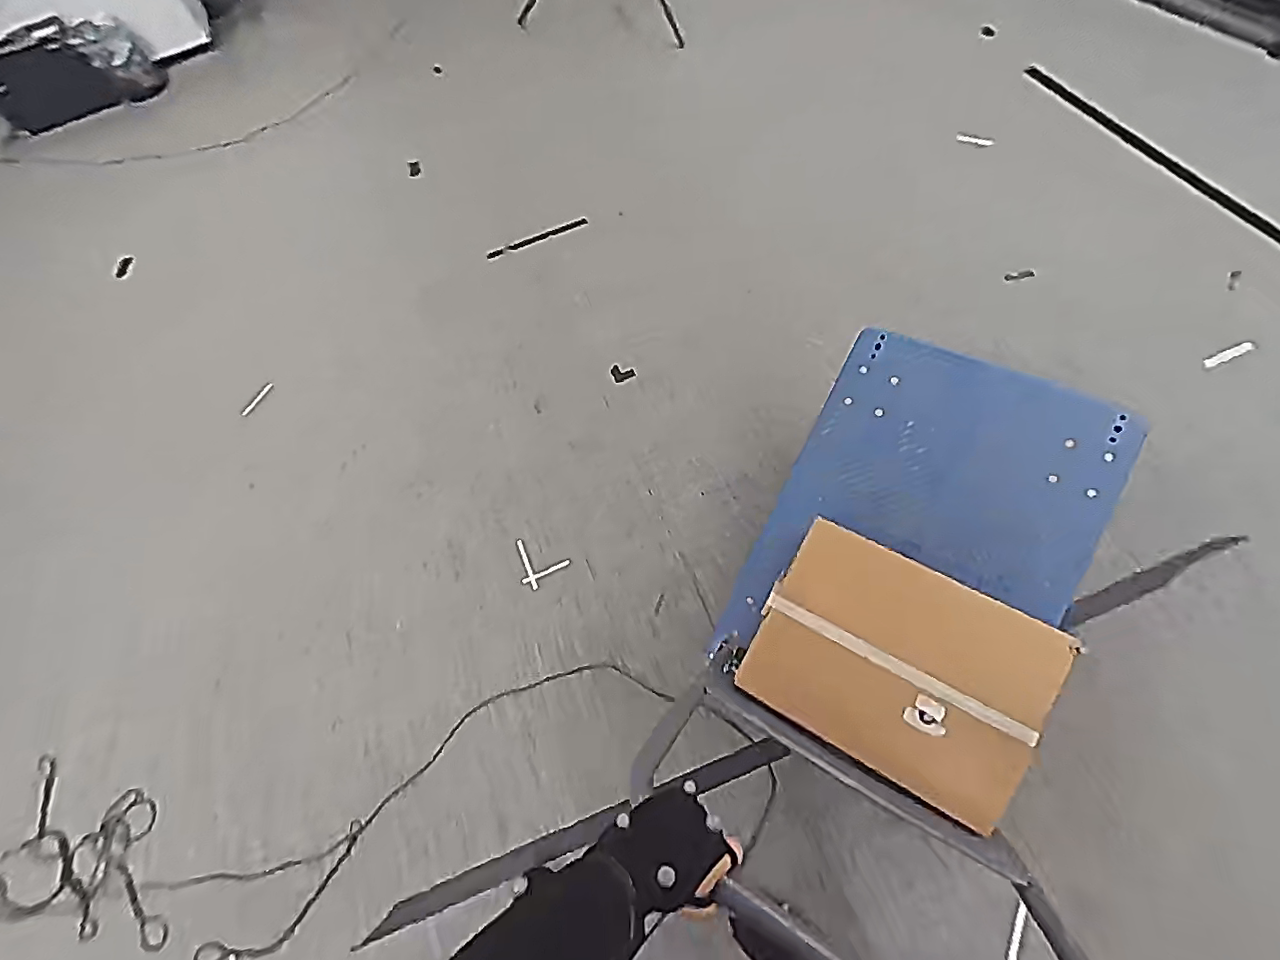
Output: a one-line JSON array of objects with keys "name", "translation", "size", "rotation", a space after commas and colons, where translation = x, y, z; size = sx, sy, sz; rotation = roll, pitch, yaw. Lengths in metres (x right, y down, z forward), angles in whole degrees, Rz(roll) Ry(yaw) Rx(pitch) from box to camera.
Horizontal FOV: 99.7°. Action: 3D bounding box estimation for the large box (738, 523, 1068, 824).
[{"name": "large box", "translation": [0.434, 0.313, 0.995], "size": [0.408, 0.320, 0.320], "rotation": [27, 88, 18]}]
